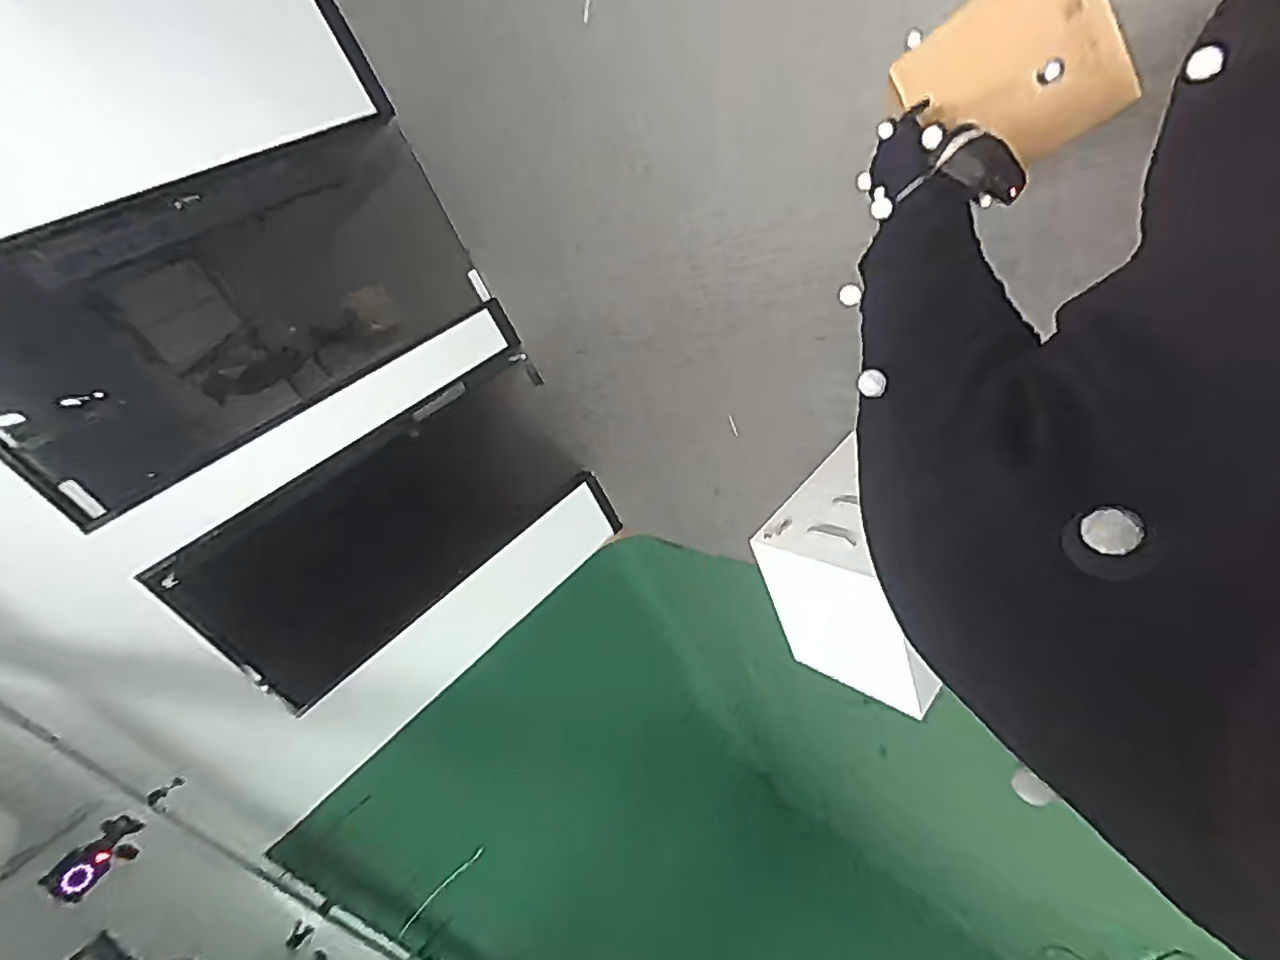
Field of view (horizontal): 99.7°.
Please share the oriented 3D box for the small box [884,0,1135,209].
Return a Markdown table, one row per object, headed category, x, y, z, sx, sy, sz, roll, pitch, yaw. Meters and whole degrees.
| category | x | y | z | sx | sy | sz | roll | pitch | yaw |
| --- | --- | --- | --- | --- | --- | --- | --- | --- | --- |
| small box | 0.391 | -0.434 | 0.594 | 0.176 | 0.179 | 0.168 | -29 | 107 | 34 |
